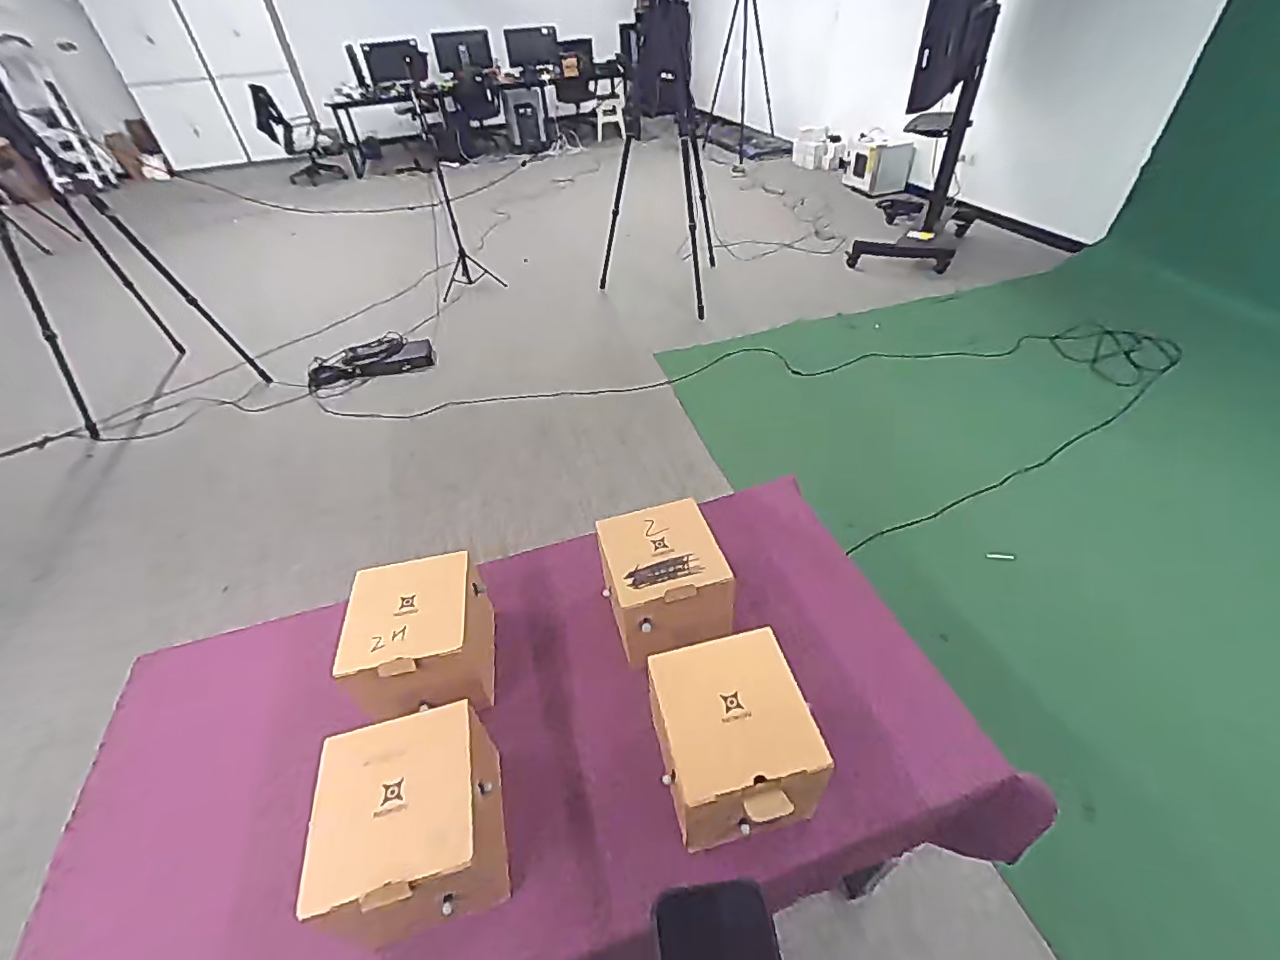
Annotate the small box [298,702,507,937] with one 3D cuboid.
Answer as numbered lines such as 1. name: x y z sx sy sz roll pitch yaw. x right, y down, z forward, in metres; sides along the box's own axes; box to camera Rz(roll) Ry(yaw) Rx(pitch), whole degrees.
1. small box: -0.258 0.397 0.630 0.168 0.176 0.179 -12 42 -9

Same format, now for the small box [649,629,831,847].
1. small box: 0.111 0.321 0.678 0.168 0.176 0.179 -12 43 -7

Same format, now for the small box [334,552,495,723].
1. small box: -0.319 0.238 0.808 0.168 0.176 0.179 -10 43 -5
